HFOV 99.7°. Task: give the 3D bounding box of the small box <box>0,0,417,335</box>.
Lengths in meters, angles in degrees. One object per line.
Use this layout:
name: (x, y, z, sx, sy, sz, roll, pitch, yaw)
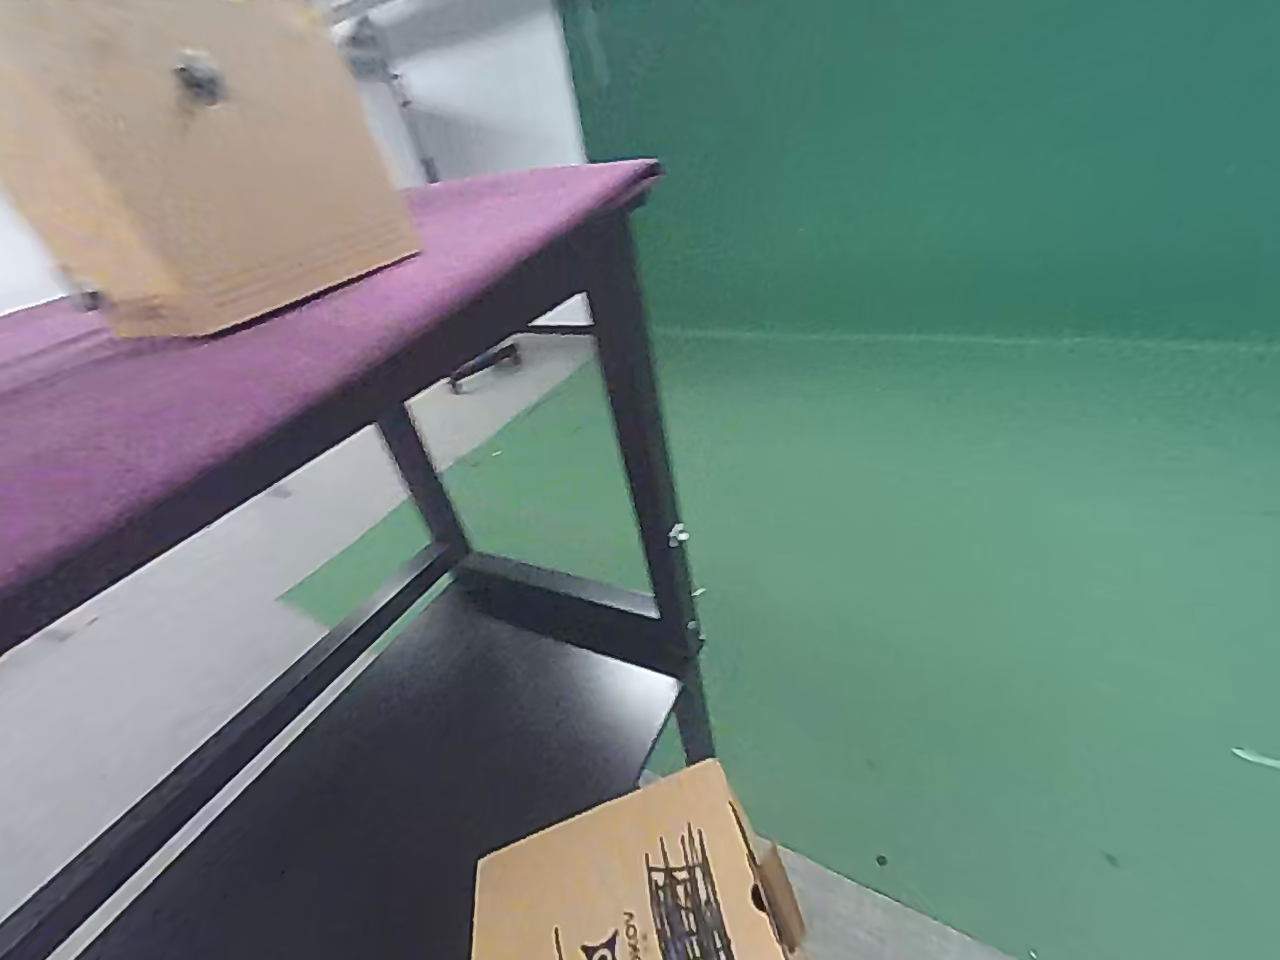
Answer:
small box: (-0.303, -0.212, 0.390, 0.168, 0.176, 0.179, 8, 38, 30)
